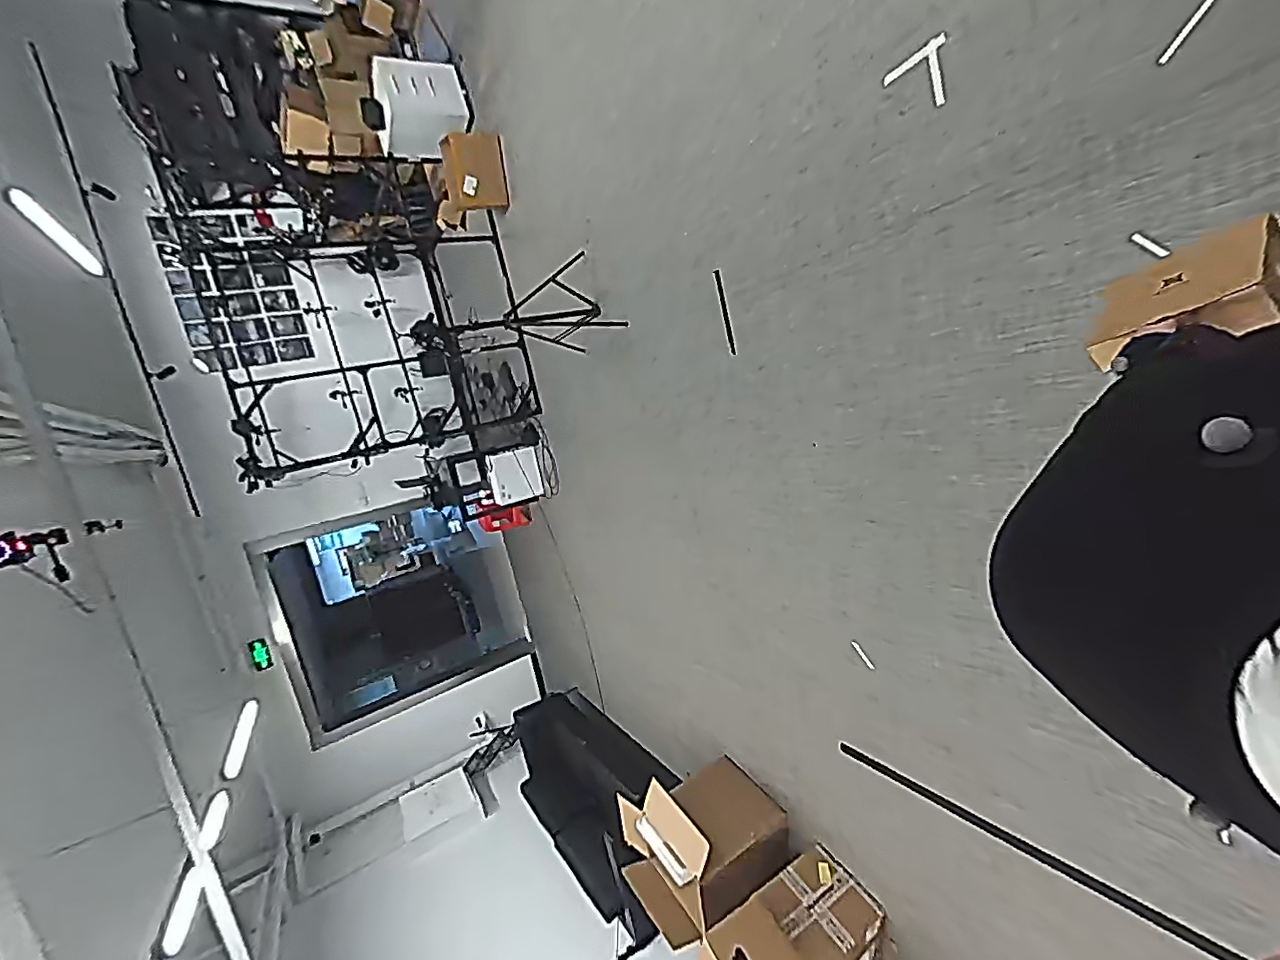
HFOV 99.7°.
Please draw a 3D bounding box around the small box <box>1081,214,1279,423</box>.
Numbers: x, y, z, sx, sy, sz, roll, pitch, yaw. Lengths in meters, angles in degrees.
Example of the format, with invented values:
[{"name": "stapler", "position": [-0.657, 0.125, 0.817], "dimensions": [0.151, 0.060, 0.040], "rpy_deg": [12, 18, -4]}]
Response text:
[{"name": "small box", "position": [0.729, -0.194, 0.704], "dimensions": [0.176, 0.179, 0.168], "rpy_deg": [46, 153, -11]}]
